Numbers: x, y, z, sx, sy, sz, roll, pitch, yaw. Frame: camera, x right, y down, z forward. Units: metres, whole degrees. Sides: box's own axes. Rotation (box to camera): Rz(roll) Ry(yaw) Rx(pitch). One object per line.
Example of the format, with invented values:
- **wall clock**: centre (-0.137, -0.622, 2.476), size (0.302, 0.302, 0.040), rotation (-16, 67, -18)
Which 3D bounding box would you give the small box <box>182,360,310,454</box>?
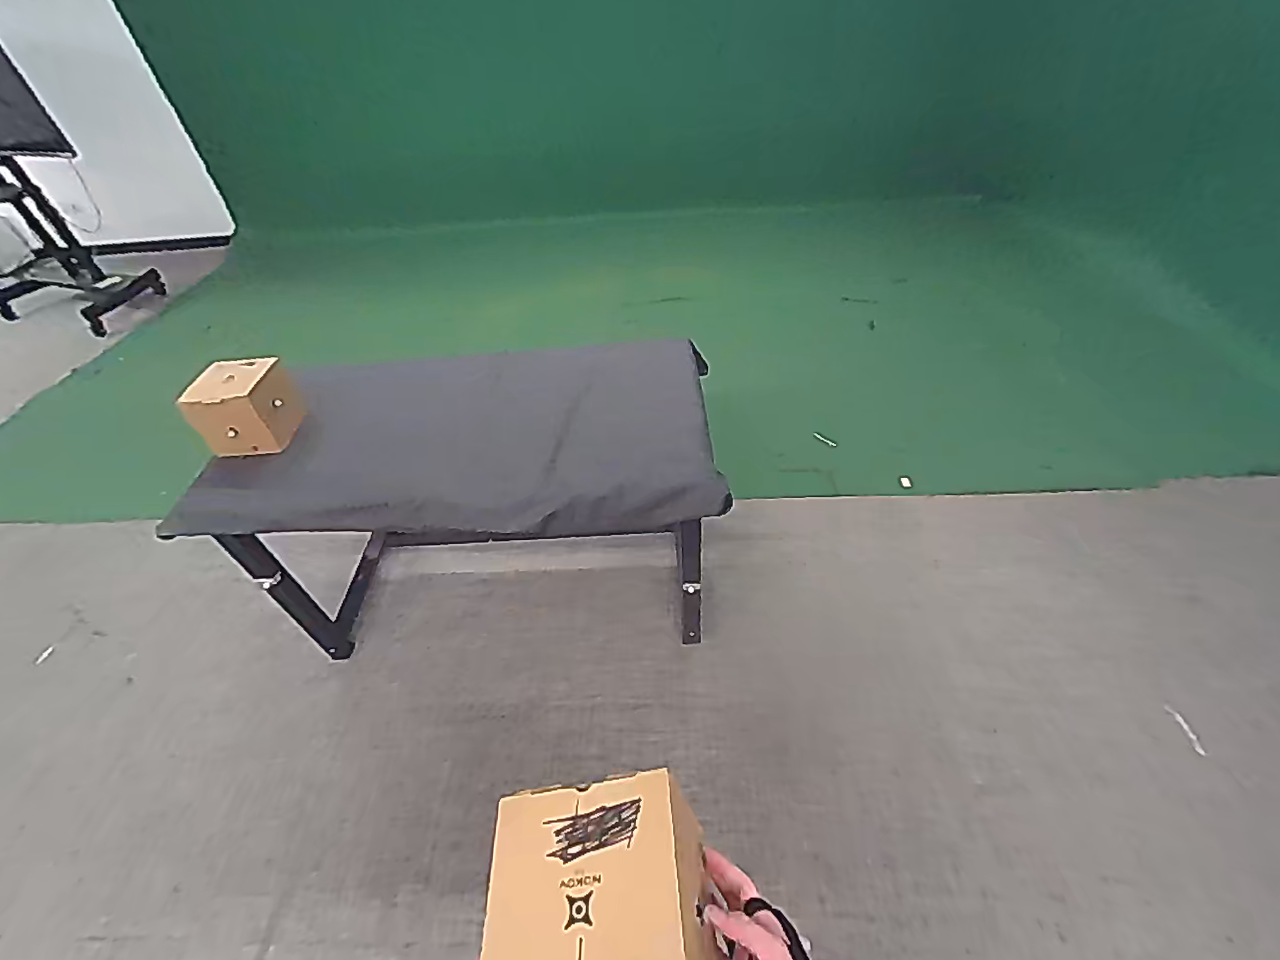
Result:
- **small box**: centre (-0.964, -0.176, 1.346), size (0.168, 0.176, 0.179), rotation (-4, 45, 0)
